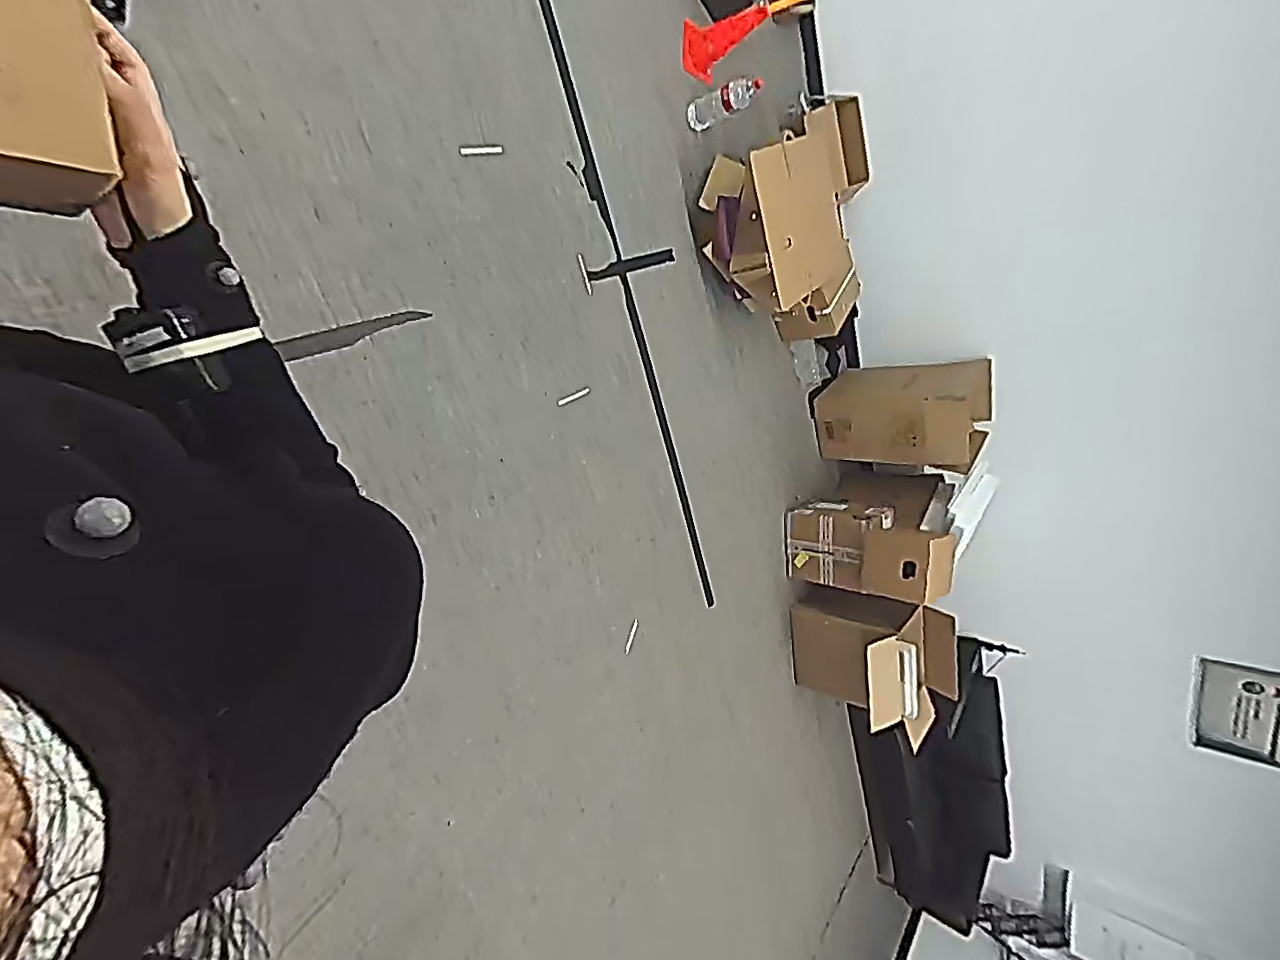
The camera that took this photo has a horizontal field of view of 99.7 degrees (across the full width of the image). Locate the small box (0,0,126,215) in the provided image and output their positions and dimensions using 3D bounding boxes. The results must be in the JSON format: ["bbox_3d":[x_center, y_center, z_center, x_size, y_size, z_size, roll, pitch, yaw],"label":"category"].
[{"bbox_3d":[-0.386,-0.245,0.257,0.168,0.176,0.179,-14,111,-49],"label":"small box"}]
